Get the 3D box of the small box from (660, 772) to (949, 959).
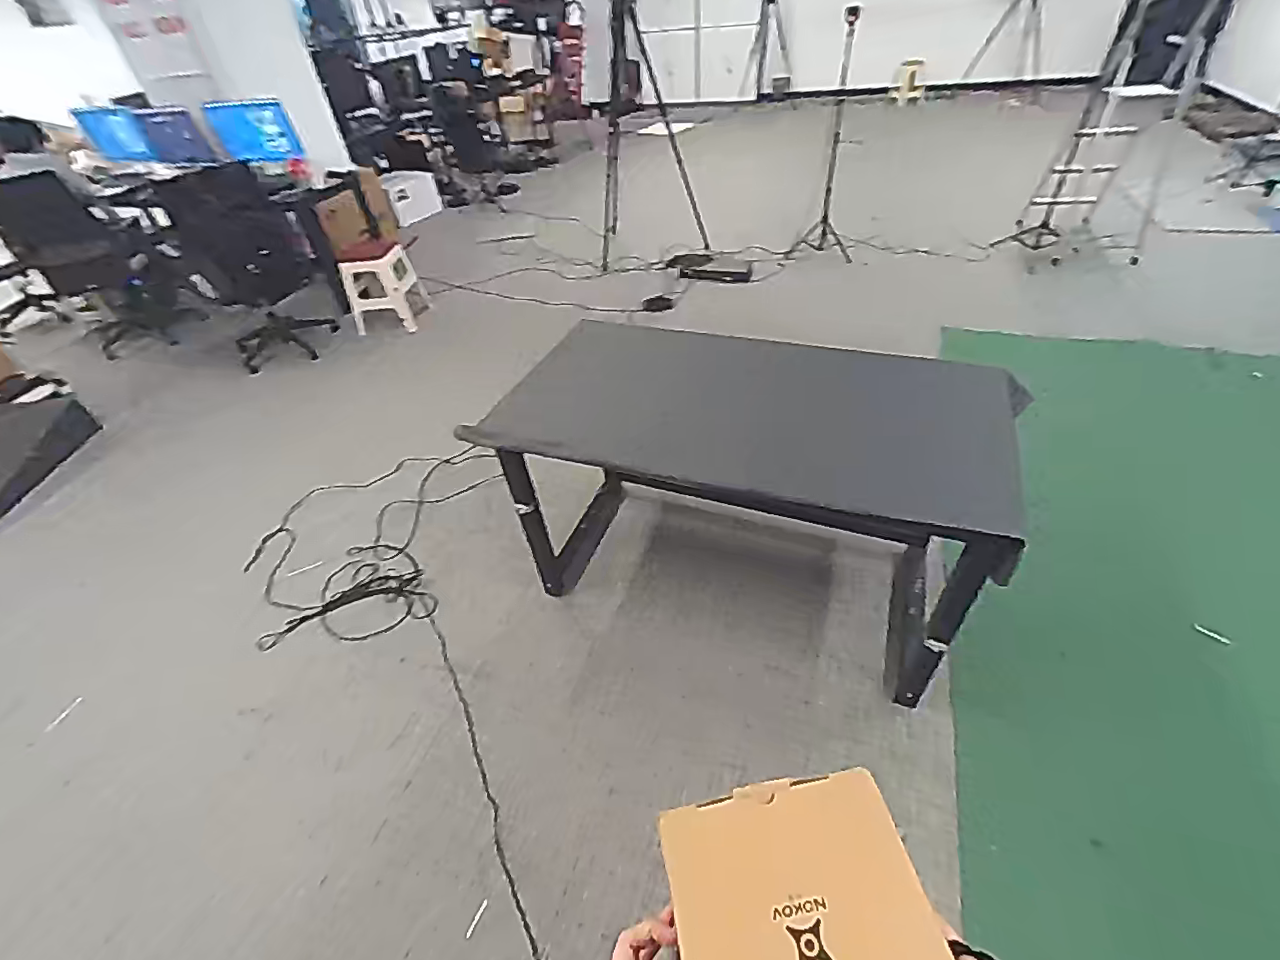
[{"bbox_3d":[0.117,0.352,0.398,0.168,0.176,0.179,-11,40,-1],"label":"small box"}]
